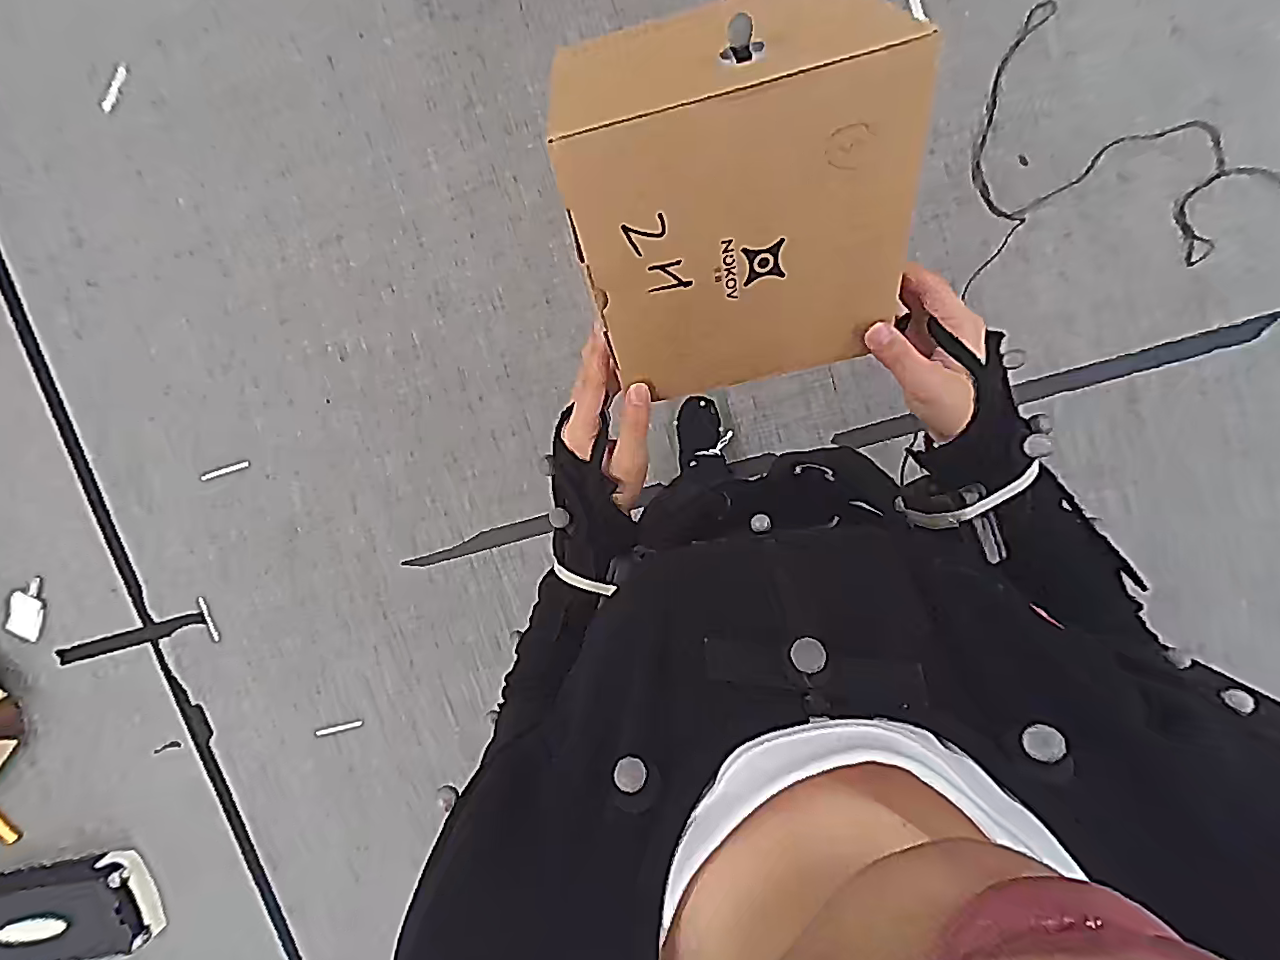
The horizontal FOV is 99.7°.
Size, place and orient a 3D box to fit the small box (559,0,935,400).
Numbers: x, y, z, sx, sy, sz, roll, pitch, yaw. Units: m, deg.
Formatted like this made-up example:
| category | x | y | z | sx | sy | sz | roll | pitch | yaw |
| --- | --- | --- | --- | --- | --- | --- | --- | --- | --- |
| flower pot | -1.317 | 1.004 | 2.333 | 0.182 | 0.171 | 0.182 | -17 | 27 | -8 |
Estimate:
| category | x | y | z | sx | sy | sz | roll | pitch | yaw |
| --- | --- | --- | --- | --- | --- | --- | --- | --- | --- |
| small box | 0.053 | -0.183 | 0.353 | 0.179 | 0.176 | 0.168 | -11 | 138 | 6 |
